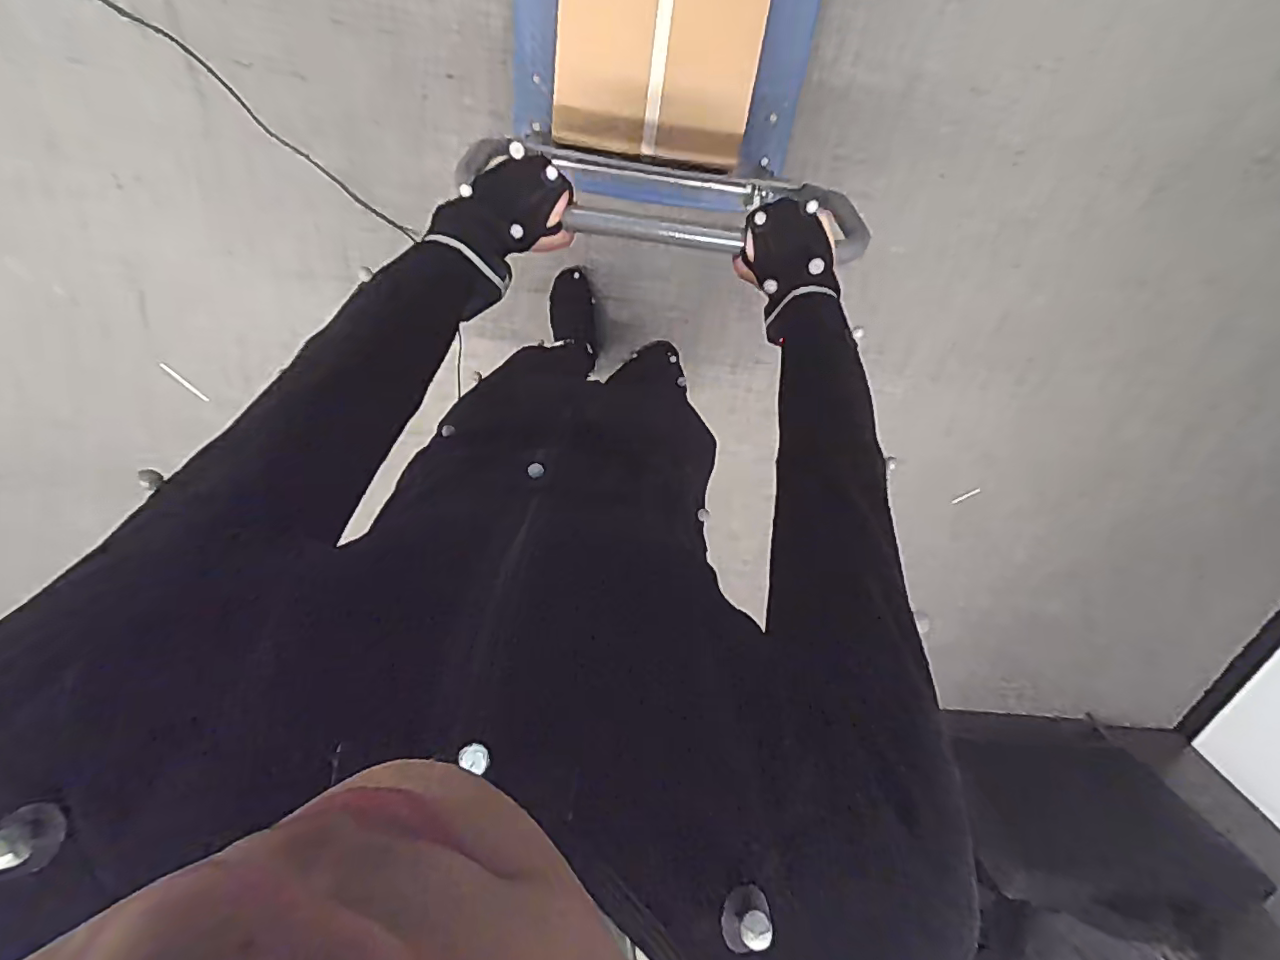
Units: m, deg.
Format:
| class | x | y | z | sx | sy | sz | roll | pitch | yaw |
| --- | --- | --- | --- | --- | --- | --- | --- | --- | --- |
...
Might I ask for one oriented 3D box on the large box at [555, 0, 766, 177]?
| class | x | y | z | sx | sy | sz | roll | pitch | yaw |
| --- | --- | --- | --- | --- | --- | --- | --- | --- | --- |
| large box | 0.033 | -0.787 | 0.955 | 0.320 | 0.320 | 0.408 | 7 | 117 | -5 |
